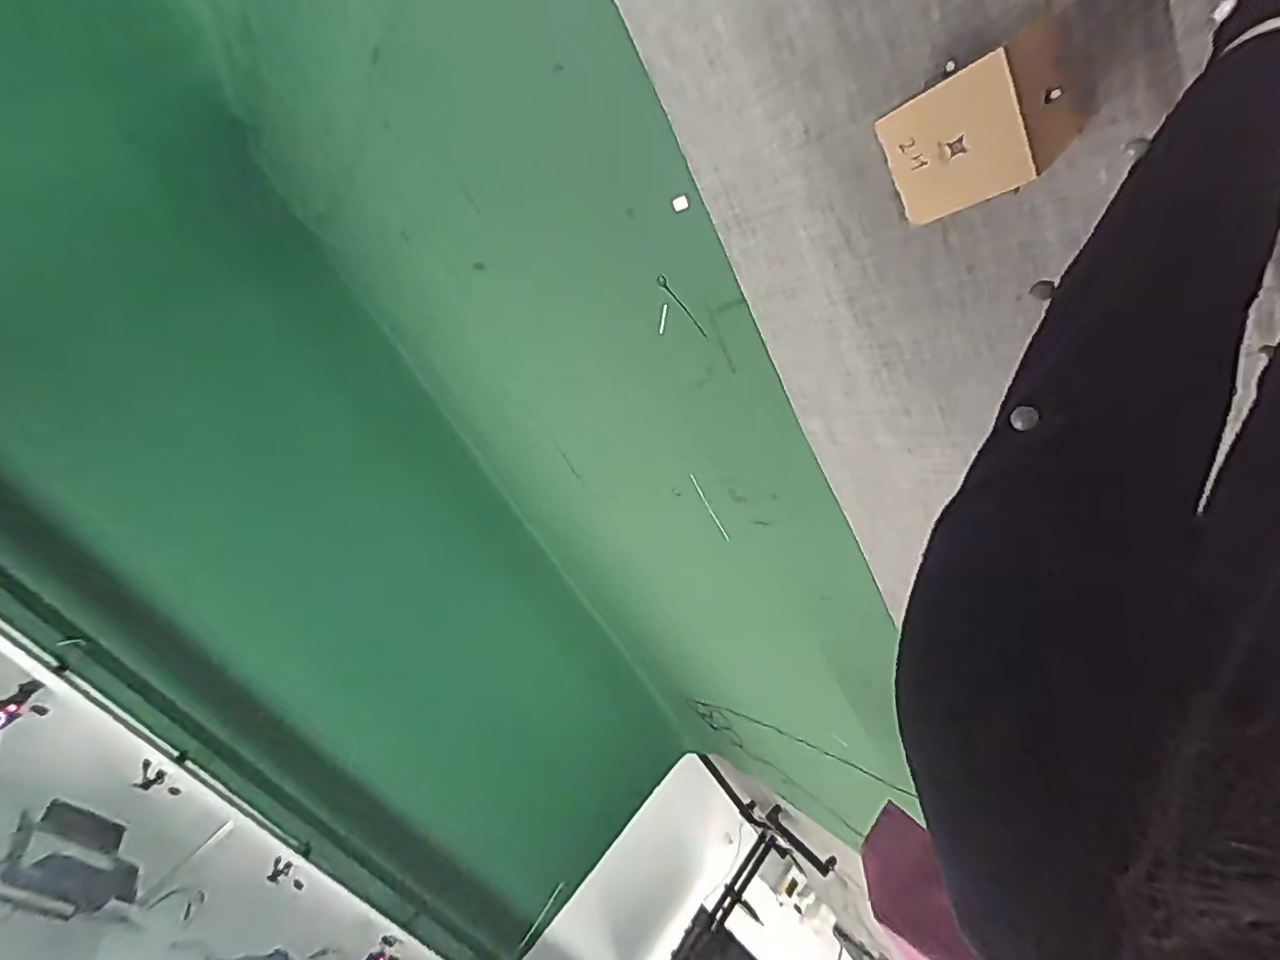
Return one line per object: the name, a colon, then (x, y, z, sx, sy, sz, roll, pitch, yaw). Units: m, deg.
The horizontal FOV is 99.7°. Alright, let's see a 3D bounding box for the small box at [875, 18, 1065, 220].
small box: (0.488, -0.522, 0.792, 0.179, 0.176, 0.168, 3, 130, 57)
